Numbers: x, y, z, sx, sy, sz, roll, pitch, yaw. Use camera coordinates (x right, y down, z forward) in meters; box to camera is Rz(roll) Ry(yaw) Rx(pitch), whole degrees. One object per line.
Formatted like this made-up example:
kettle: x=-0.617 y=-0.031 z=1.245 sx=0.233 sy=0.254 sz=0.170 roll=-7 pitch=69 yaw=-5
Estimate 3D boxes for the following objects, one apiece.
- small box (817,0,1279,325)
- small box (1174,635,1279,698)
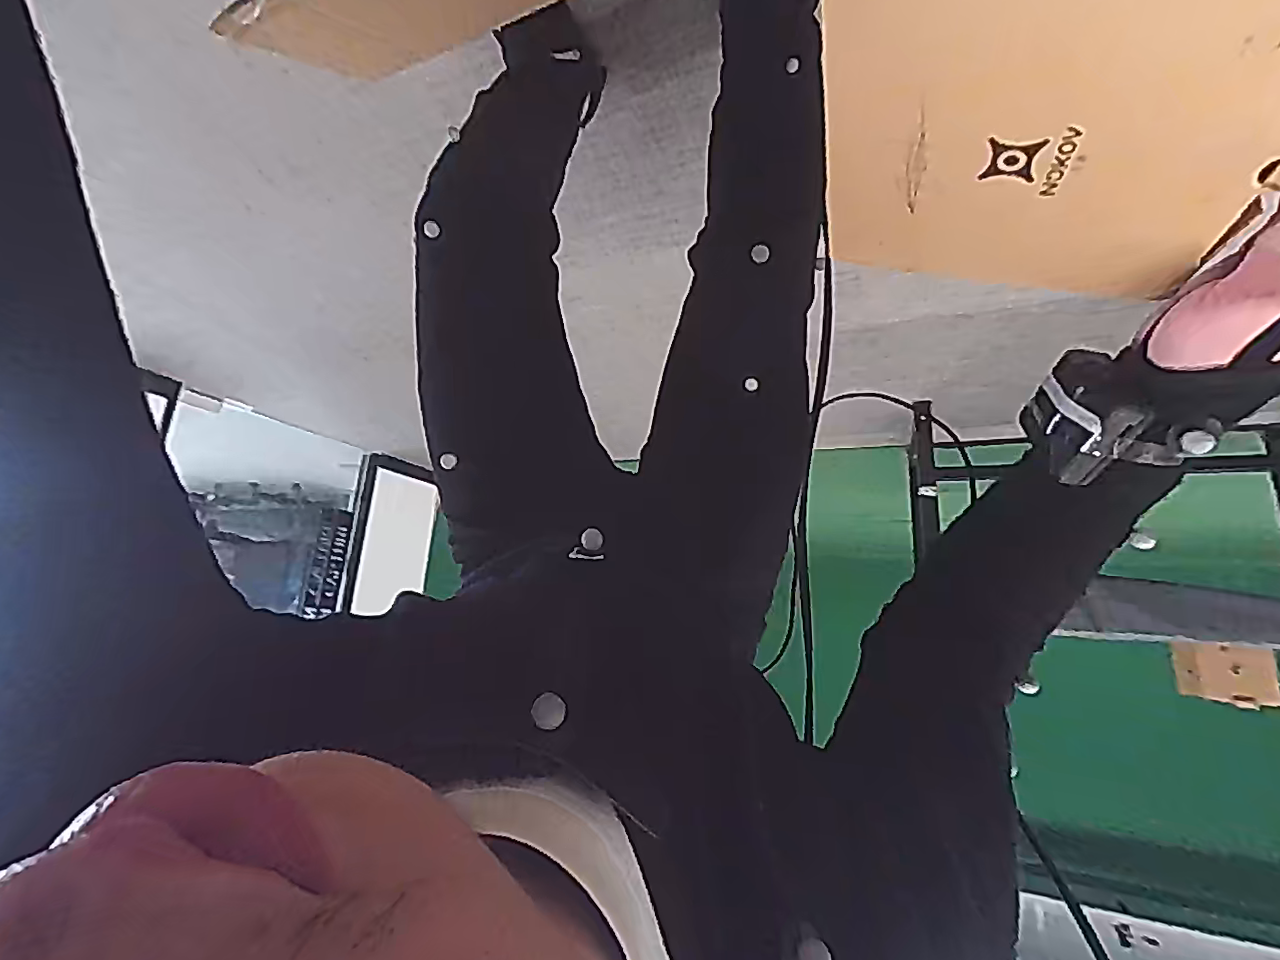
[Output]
small box: x=0.198 y=-0.203 z=0.253 sx=0.179 sy=0.176 sz=0.168 roll=20 pitch=169 yaw=22
small box: x=1.758 y=0.555 z=1.629 sx=0.168 sy=0.176 sz=0.179 roll=-5 pitch=163 yaw=28
